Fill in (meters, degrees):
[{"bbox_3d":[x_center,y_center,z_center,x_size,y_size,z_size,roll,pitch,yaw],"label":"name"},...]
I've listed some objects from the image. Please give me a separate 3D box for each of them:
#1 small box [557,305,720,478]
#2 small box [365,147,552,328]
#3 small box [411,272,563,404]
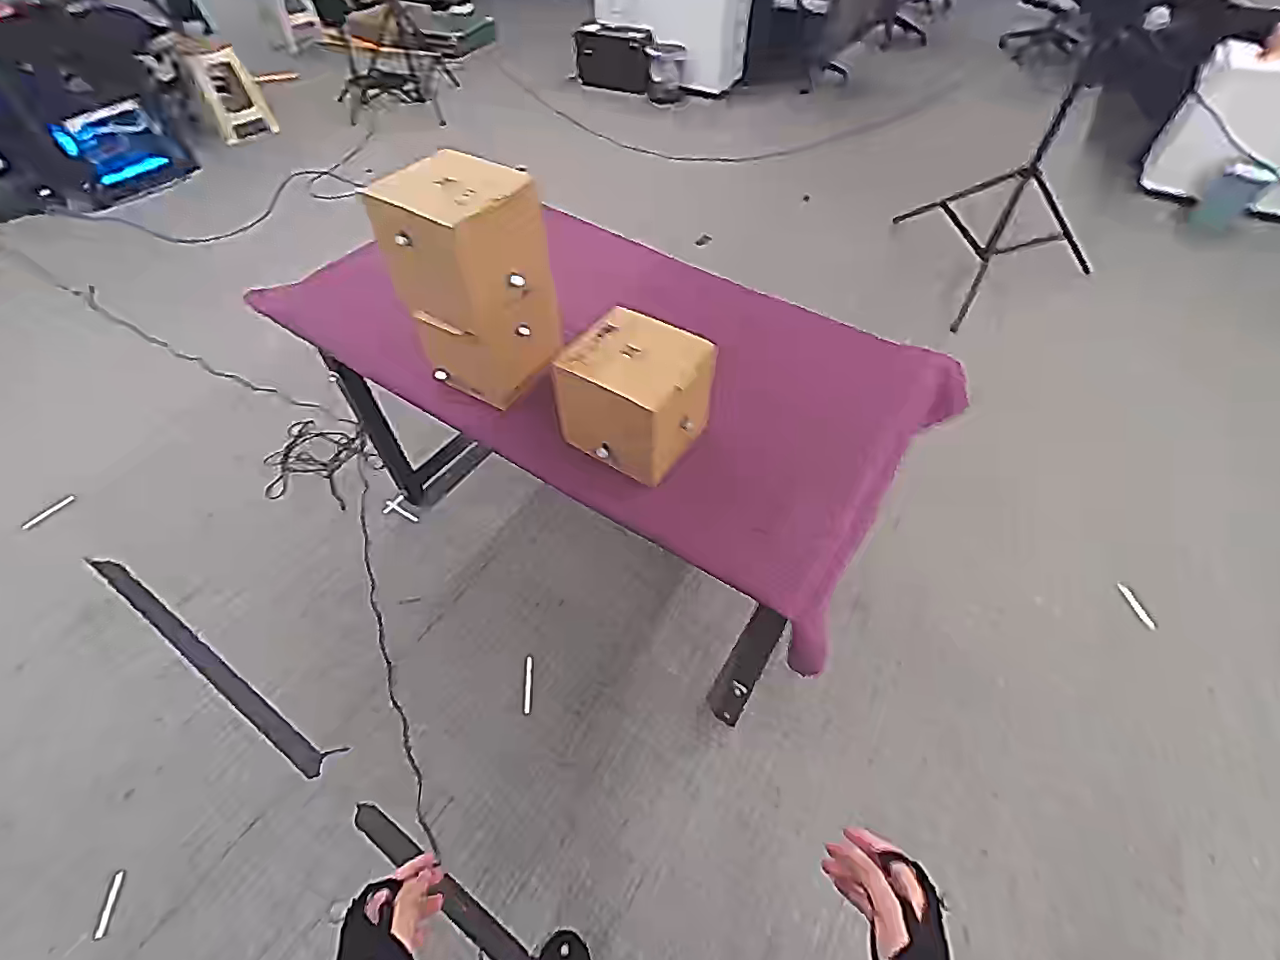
[{"bbox_3d":[-0.001,-0.128,0.827,0.179,0.176,0.168,29,58,20],"label":"small box"},{"bbox_3d":[-0.250,-0.349,0.787,0.179,0.176,0.168,28,58,19],"label":"small box"},{"bbox_3d":[-0.247,-0.260,0.926,0.168,0.176,0.179,26,56,18],"label":"small box"}]
